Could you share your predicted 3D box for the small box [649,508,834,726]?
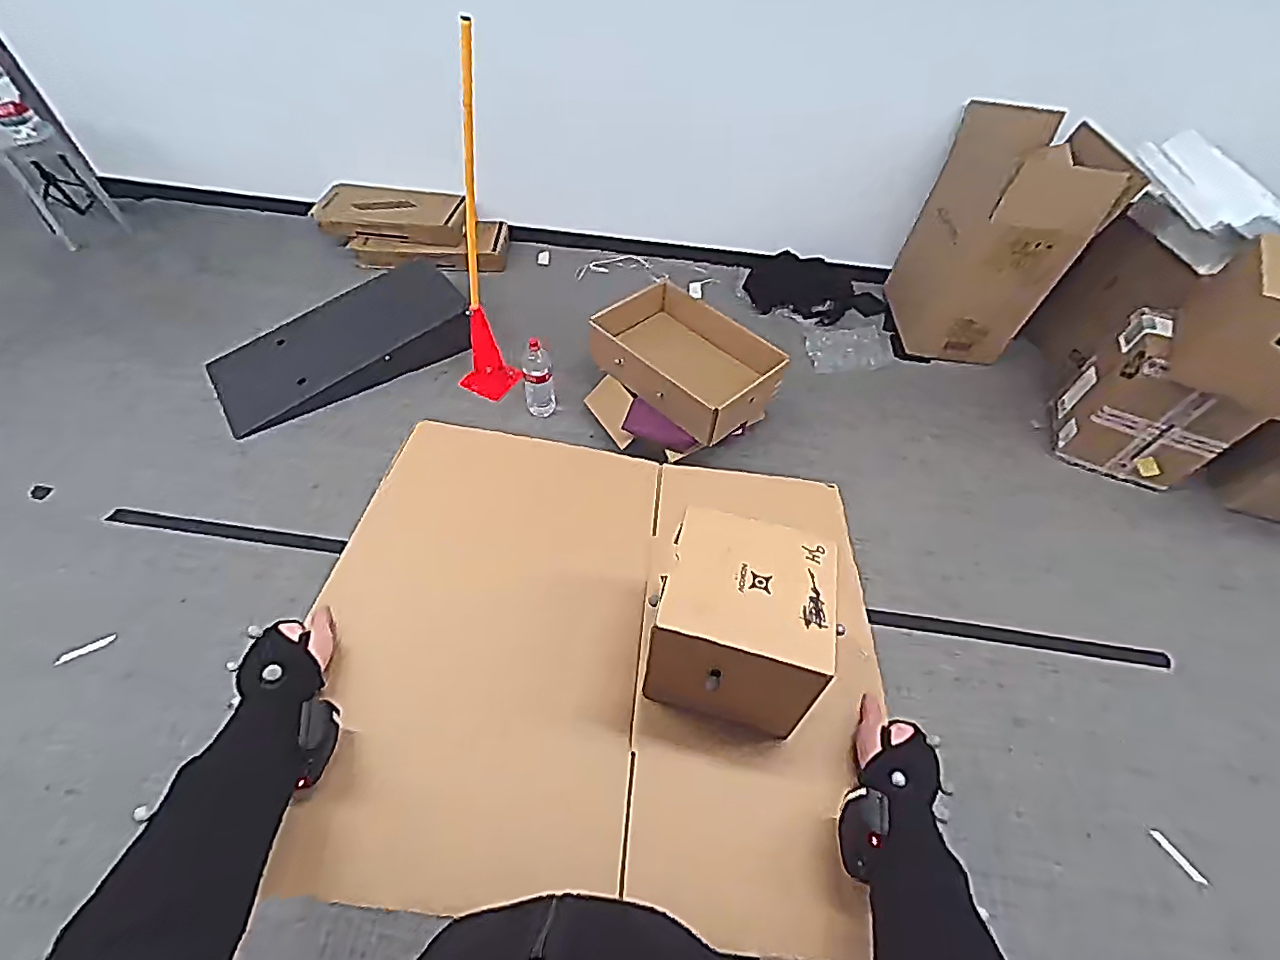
[{"bbox_3d":[0.113,0.161,0.629,0.179,0.176,0.168,13,47,9],"label":"small box"}]
